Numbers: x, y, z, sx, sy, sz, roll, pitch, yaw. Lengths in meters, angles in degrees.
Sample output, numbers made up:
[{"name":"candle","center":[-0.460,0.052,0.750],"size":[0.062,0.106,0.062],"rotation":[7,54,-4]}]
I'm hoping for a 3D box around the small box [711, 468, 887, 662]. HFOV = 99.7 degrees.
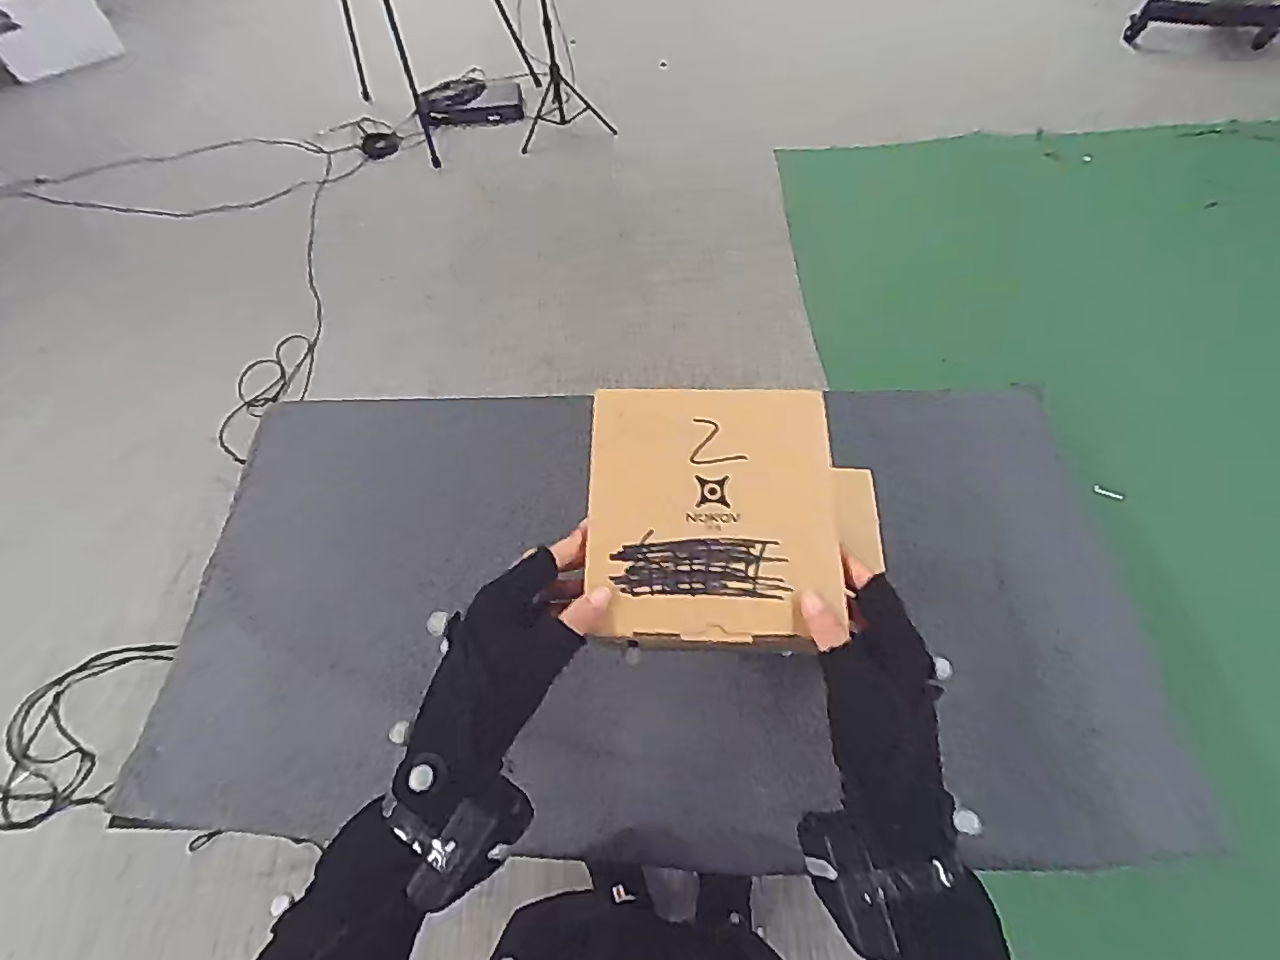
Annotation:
[{"name":"small box","center":[0.174,0.105,0.645],"size":[0.168,0.176,0.179],"rotation":[3,61,6]}]
